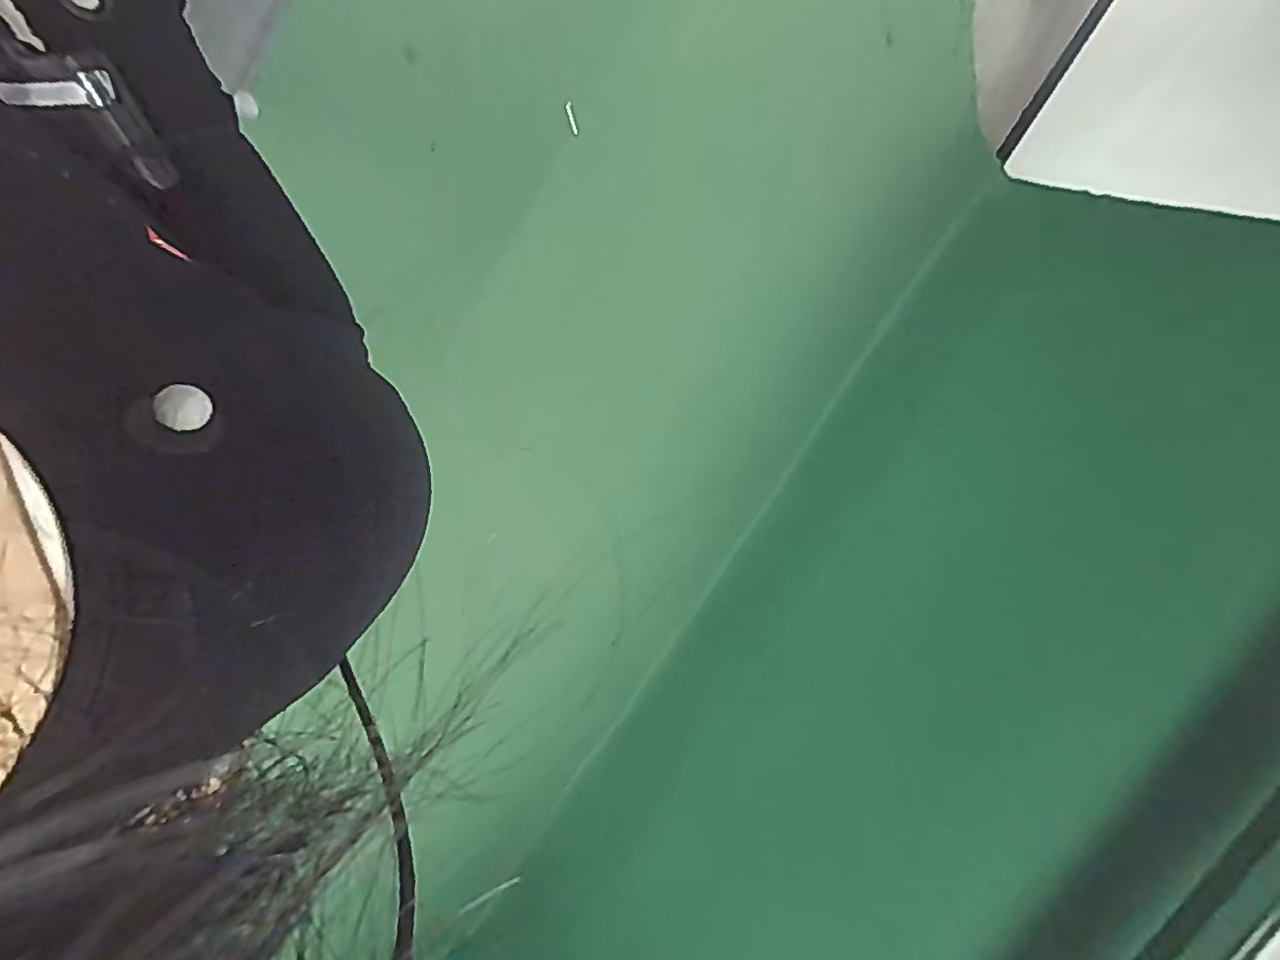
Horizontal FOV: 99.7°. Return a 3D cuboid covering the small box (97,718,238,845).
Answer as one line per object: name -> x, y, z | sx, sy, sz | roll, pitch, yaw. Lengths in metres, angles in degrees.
small box -> -1.040, 0.649, 1.190 | 0.168, 0.176, 0.179 | -54, 145, 3
